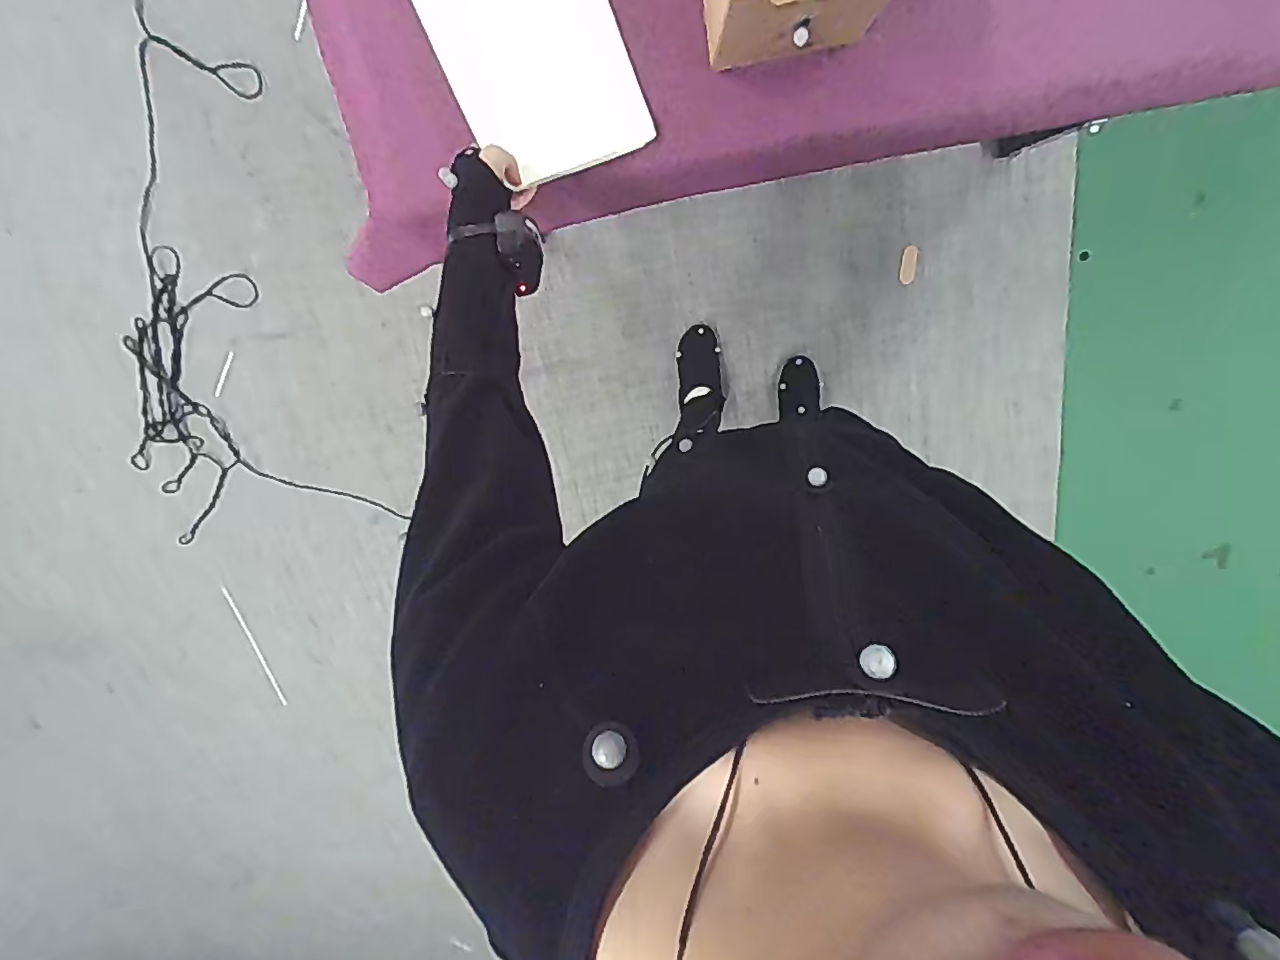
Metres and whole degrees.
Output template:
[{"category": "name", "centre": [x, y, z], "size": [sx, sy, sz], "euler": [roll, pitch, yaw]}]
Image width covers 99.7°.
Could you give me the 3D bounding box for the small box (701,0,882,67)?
[{"category": "small box", "centre": [0.144, -0.524, 0.508], "size": [0.168, 0.176, 0.179], "euler": [-8, 108, 5]}]
